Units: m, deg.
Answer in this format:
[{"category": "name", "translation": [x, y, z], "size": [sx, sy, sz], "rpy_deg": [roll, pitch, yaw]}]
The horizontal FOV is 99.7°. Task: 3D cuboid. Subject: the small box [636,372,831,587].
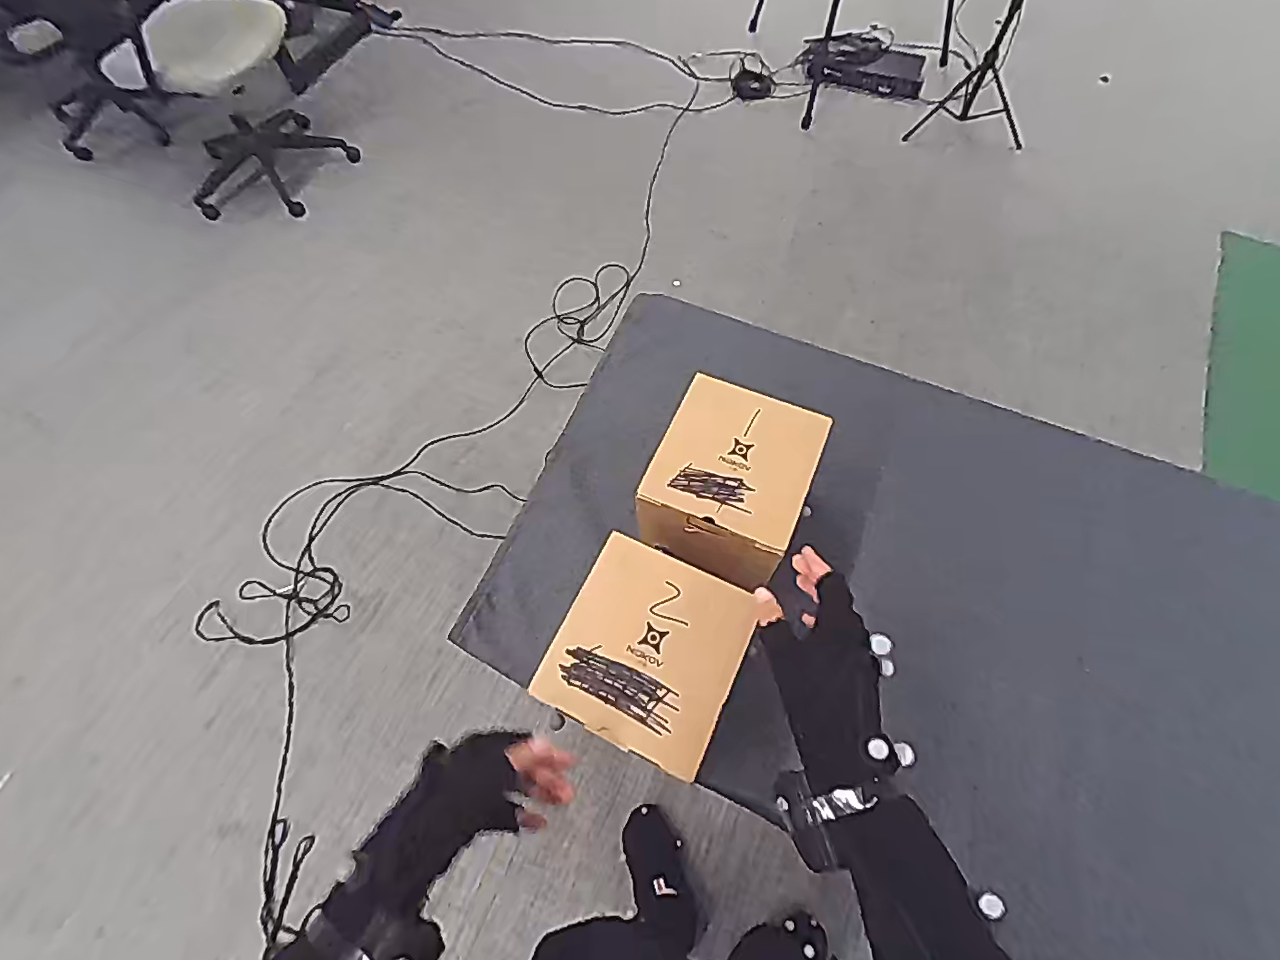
[{"category": "small box", "translation": [0.108, 0.008, 0.657], "size": [0.168, 0.176, 0.179], "rpy_deg": [22, 66, 12]}]
